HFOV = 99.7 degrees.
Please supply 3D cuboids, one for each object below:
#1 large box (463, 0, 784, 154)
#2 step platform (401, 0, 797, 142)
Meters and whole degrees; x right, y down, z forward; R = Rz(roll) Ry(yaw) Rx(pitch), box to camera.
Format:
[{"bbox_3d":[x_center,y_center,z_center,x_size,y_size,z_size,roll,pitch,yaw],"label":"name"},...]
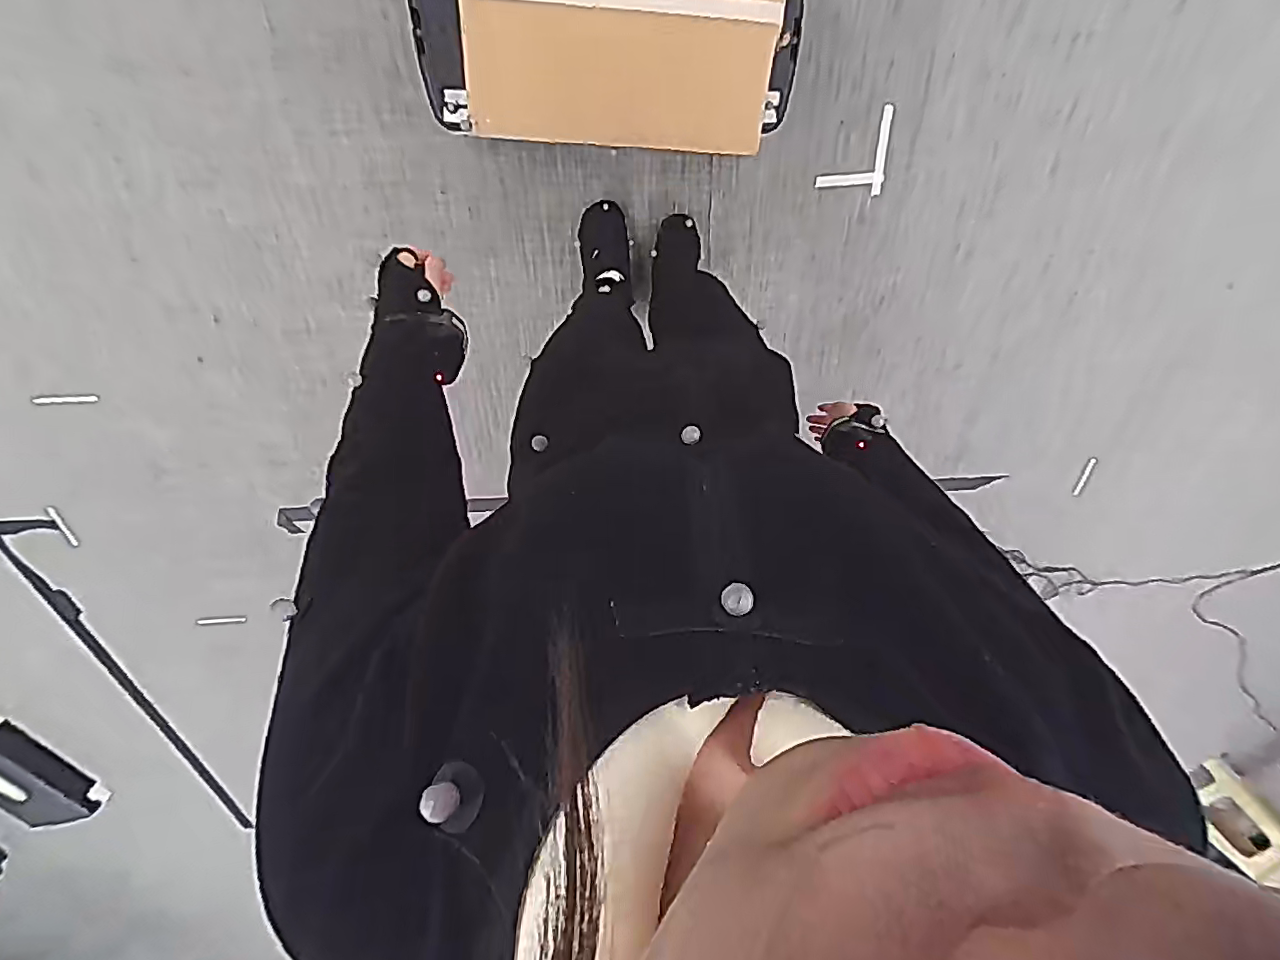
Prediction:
[{"bbox_3d":[-0.024,-0.673,0.791,0.408,0.320,0.320,1,122,-4],"label":"large box"},{"bbox_3d":[-0.068,-0.798,0.991,0.684,0.204,0.286,3,122,-6],"label":"step platform"}]
